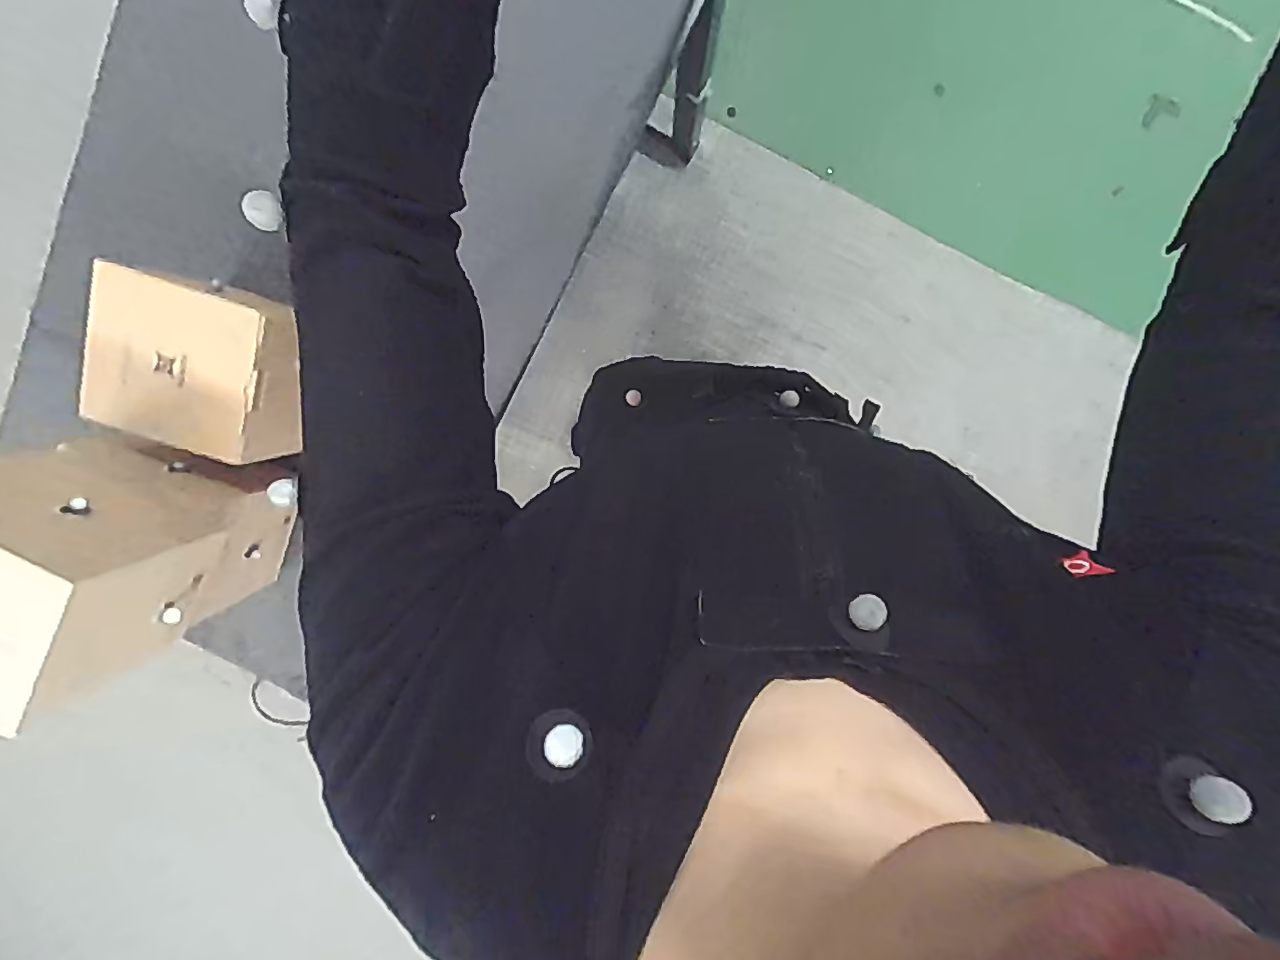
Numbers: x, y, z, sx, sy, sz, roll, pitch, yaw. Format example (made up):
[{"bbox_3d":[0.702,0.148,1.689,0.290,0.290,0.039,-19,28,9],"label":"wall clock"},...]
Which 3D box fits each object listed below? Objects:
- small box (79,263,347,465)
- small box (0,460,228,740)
[{"bbox_3d":[-0.479,-0.131,0.632,0.179,0.176,0.168,17,100,-2],"label":"small box"},{"bbox_3d":[-0.555,0.093,0.509,0.179,0.176,0.168,30,100,-5],"label":"small box"}]
